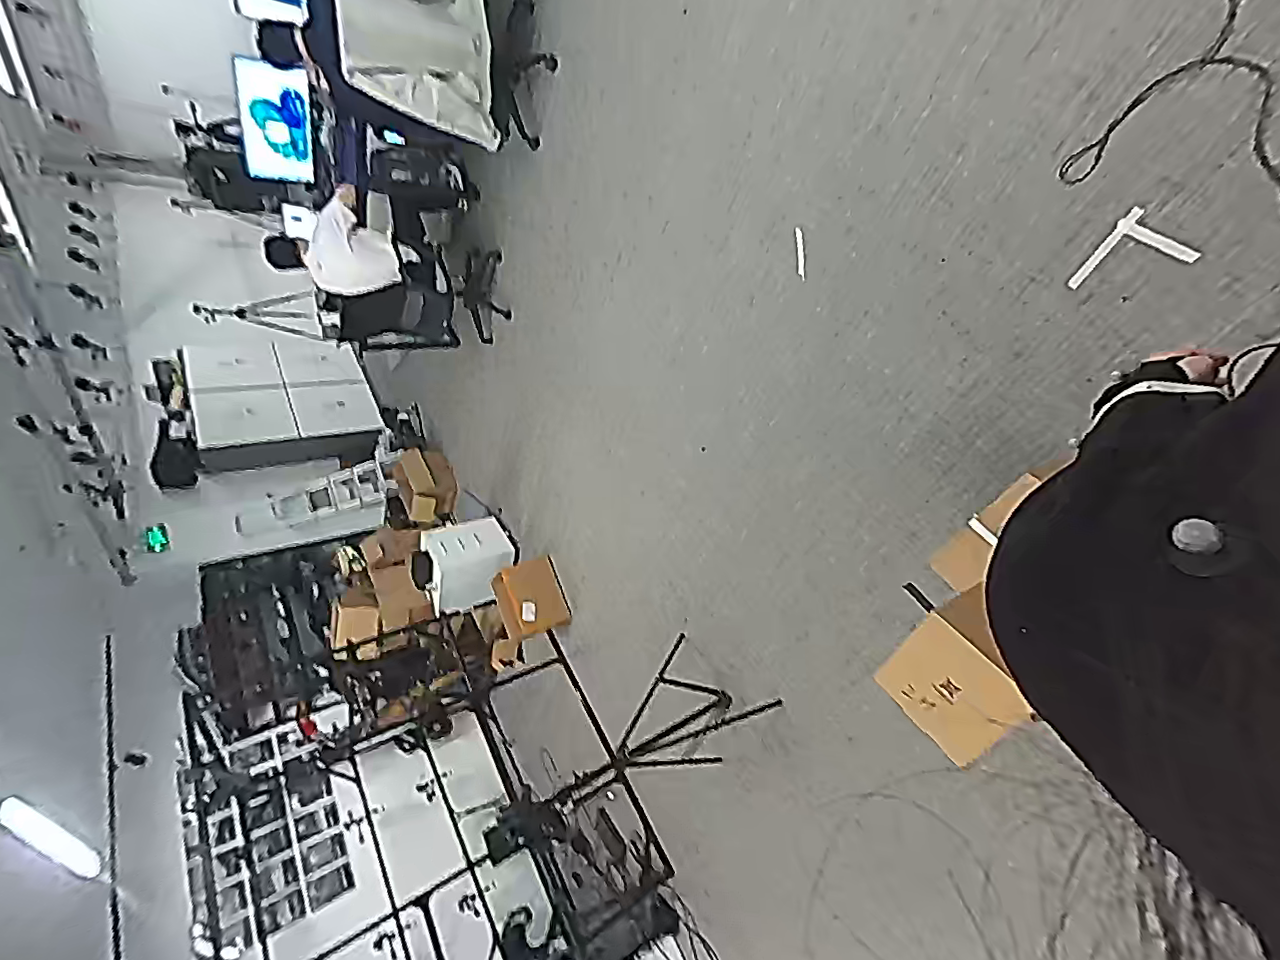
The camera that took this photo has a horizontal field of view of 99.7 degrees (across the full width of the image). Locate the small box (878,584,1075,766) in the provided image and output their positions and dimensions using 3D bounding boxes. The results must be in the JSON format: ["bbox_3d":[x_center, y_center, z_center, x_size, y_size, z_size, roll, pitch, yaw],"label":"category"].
[{"bbox_3d":[0.513,0.286,0.824,0.168,0.176,0.179,49,135,36],"label":"small box"}]
